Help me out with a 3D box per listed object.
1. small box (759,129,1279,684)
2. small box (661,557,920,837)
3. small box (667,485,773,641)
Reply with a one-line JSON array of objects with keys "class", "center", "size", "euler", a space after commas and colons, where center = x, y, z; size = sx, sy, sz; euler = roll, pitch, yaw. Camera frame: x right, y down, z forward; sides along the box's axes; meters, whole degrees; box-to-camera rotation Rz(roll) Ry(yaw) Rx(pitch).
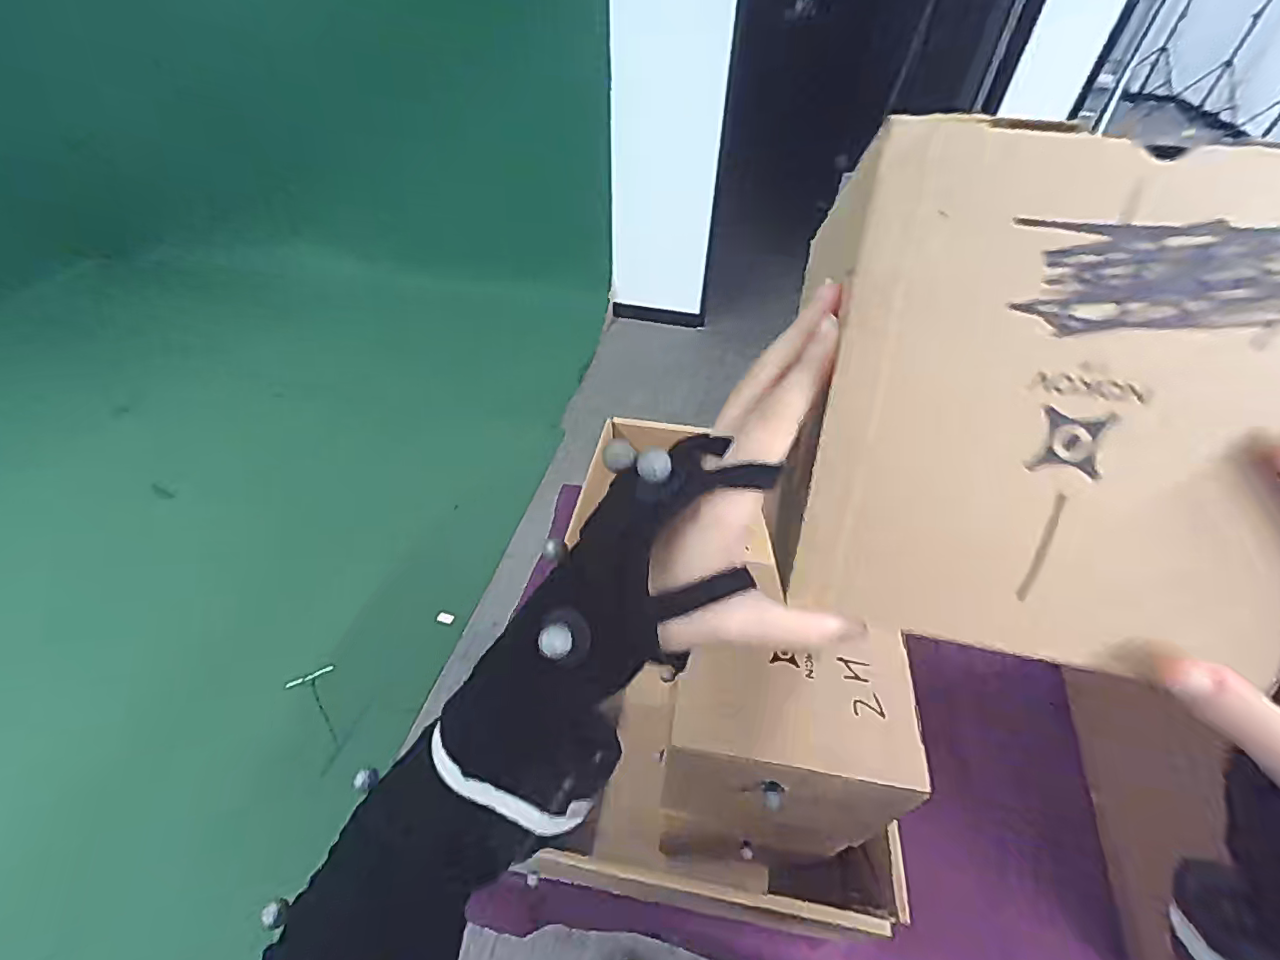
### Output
[{"class": "small box", "center": [0.156, -0.037, 0.267], "size": [0.168, 0.179, 0.176], "euler": [10, 12, 8]}, {"class": "small box", "center": [0.115, 0.193, 0.477], "size": [0.179, 0.176, 0.168], "euler": [8, 48, 7]}, {"class": "small box", "center": [0.127, 0.132, 0.762], "size": [0.168, 0.176, 0.179], "euler": [5, 47, 5]}]
